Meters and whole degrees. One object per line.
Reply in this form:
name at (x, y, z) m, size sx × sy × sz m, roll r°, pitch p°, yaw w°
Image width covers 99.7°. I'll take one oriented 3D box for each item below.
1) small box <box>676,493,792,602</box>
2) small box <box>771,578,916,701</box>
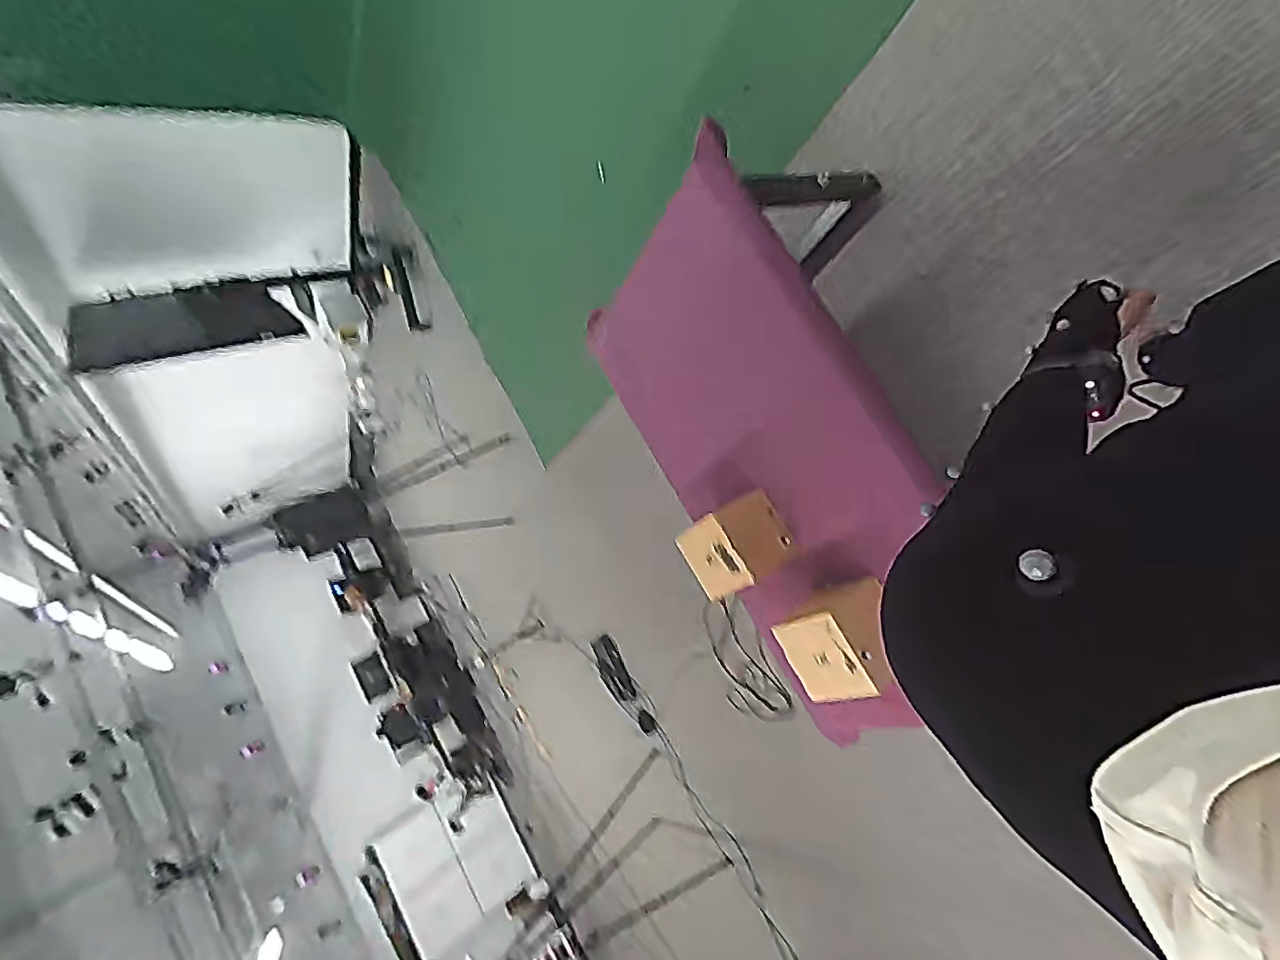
small box at (0.221, 0.152, 1.242) m, size 0.168 × 0.176 × 0.179 m, roll 59°, pitch 145°, yaw 11°
small box at (0.409, 0.322, 1.089) m, size 0.168 × 0.176 × 0.179 m, roll 59°, pitch 144°, yaw 8°
